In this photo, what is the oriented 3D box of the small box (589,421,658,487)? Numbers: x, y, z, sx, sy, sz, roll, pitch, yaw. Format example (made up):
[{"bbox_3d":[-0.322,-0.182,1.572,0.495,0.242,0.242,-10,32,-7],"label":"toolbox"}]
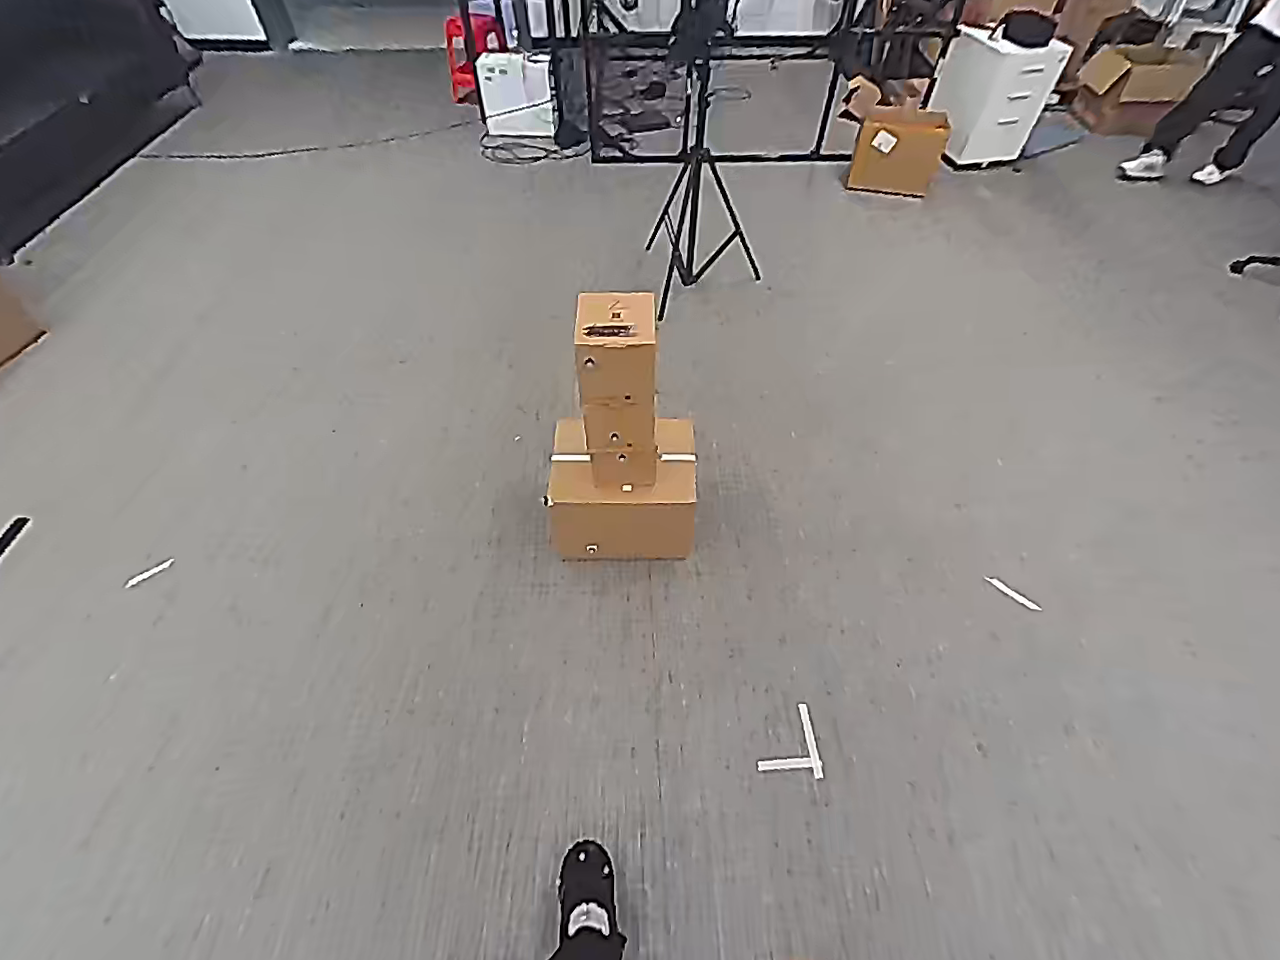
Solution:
[{"bbox_3d":[-0.043,-0.093,1.457,0.179,0.176,0.168,-2,54,-2],"label":"small box"}]

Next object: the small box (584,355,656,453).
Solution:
[{"bbox_3d":[-0.048,-0.184,1.323,0.168,0.176,0.179,-2,54,-1],"label":"small box"}]
